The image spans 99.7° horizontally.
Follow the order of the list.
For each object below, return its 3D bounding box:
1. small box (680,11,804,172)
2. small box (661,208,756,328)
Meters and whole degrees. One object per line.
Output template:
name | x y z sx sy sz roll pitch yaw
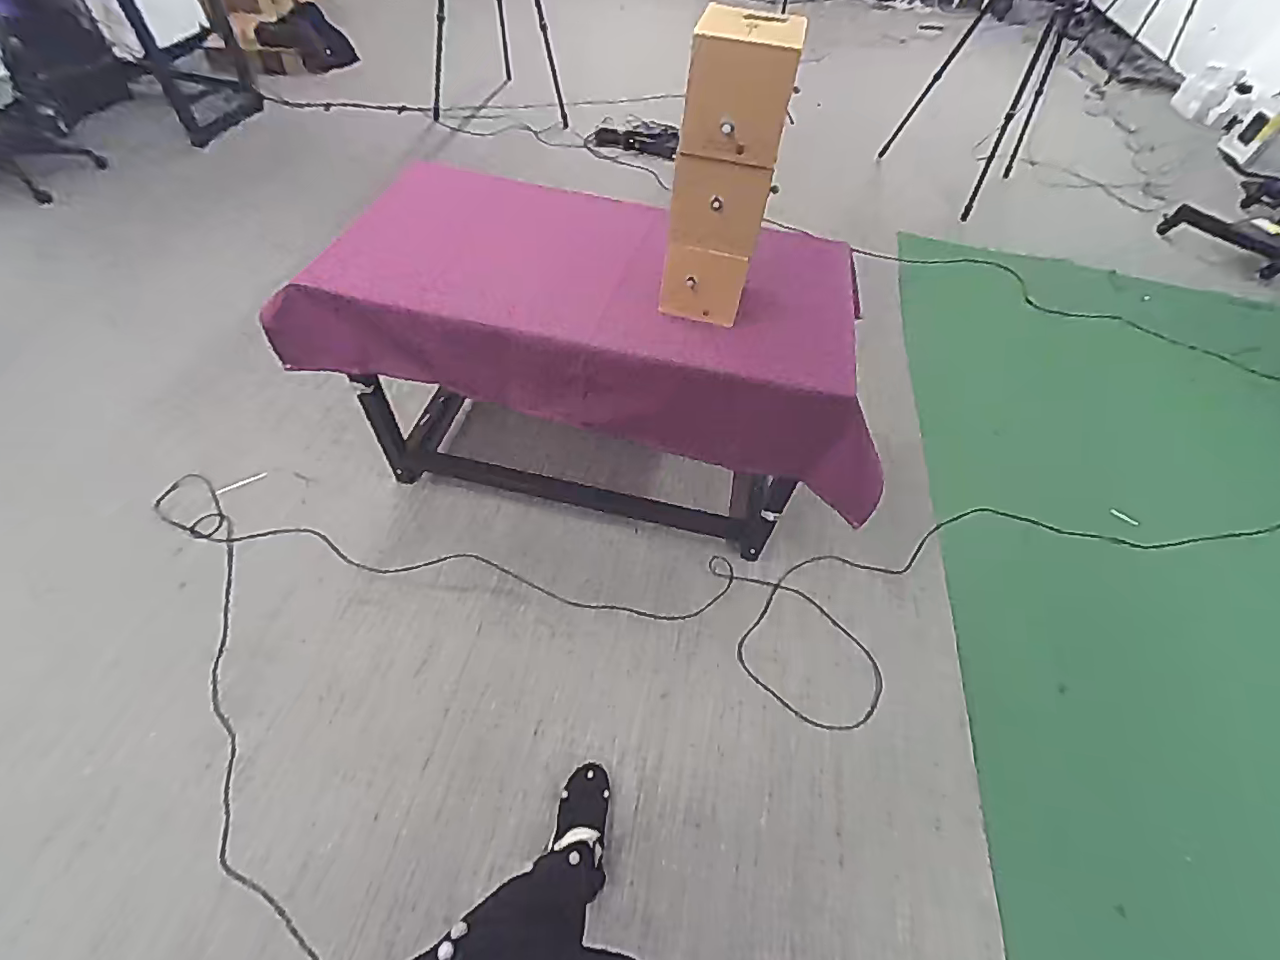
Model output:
small box | 0.168 -0.656 0.916 0.168 0.176 0.179 13 53 5
small box | 0.145 -0.459 1.179 0.168 0.176 0.179 14 52 5
